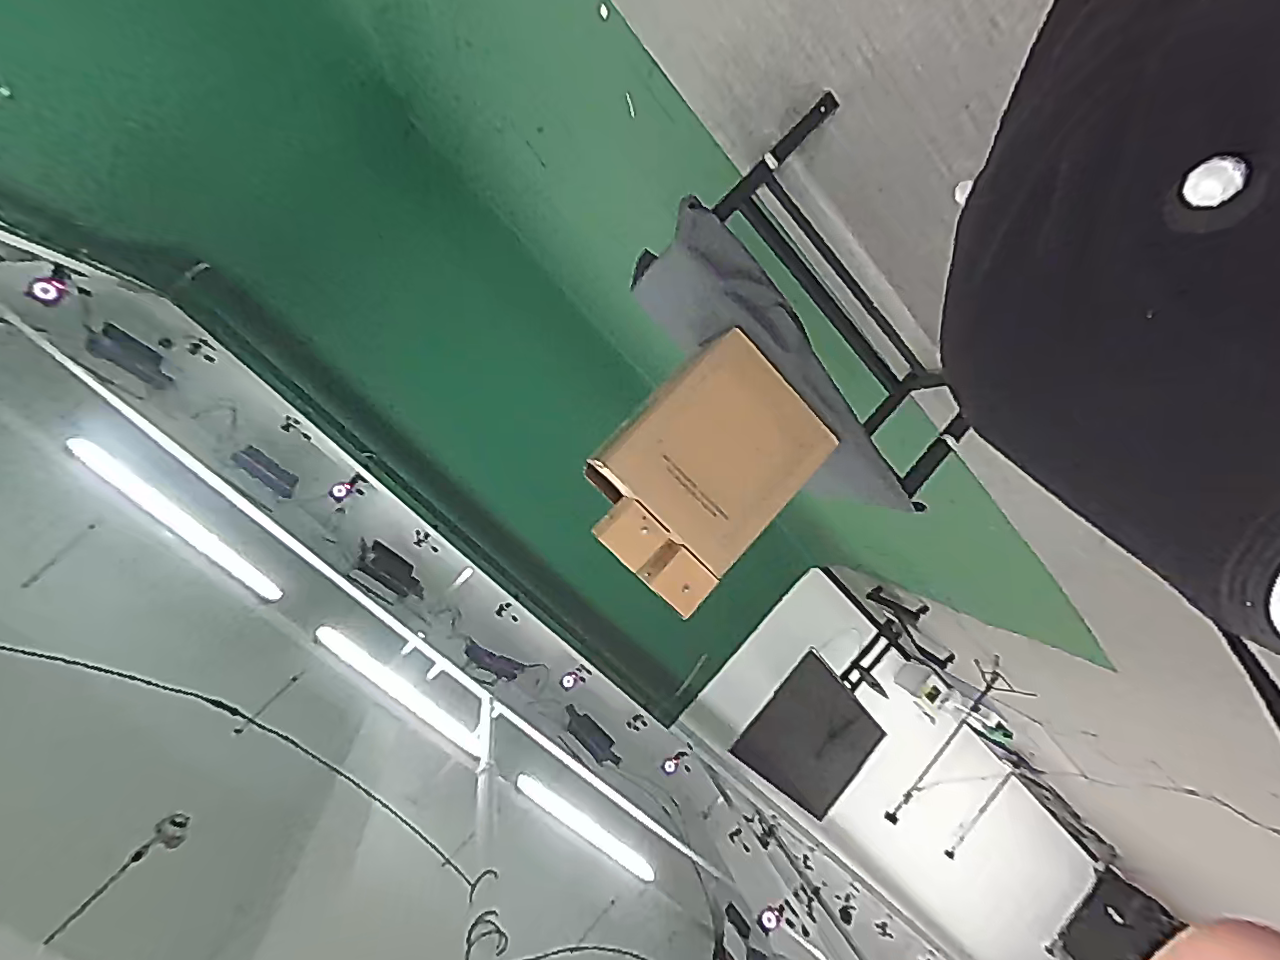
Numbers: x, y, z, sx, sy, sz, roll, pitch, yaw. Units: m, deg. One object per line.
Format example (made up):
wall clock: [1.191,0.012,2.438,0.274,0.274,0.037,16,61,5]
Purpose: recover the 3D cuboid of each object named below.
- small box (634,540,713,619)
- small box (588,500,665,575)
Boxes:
small box: [0.114,0.330,1.814,0.179,0.176,0.168,44,172,-13]
small box: [-0.044,0.180,1.776,0.168,0.176,0.179,45,171,-12]
